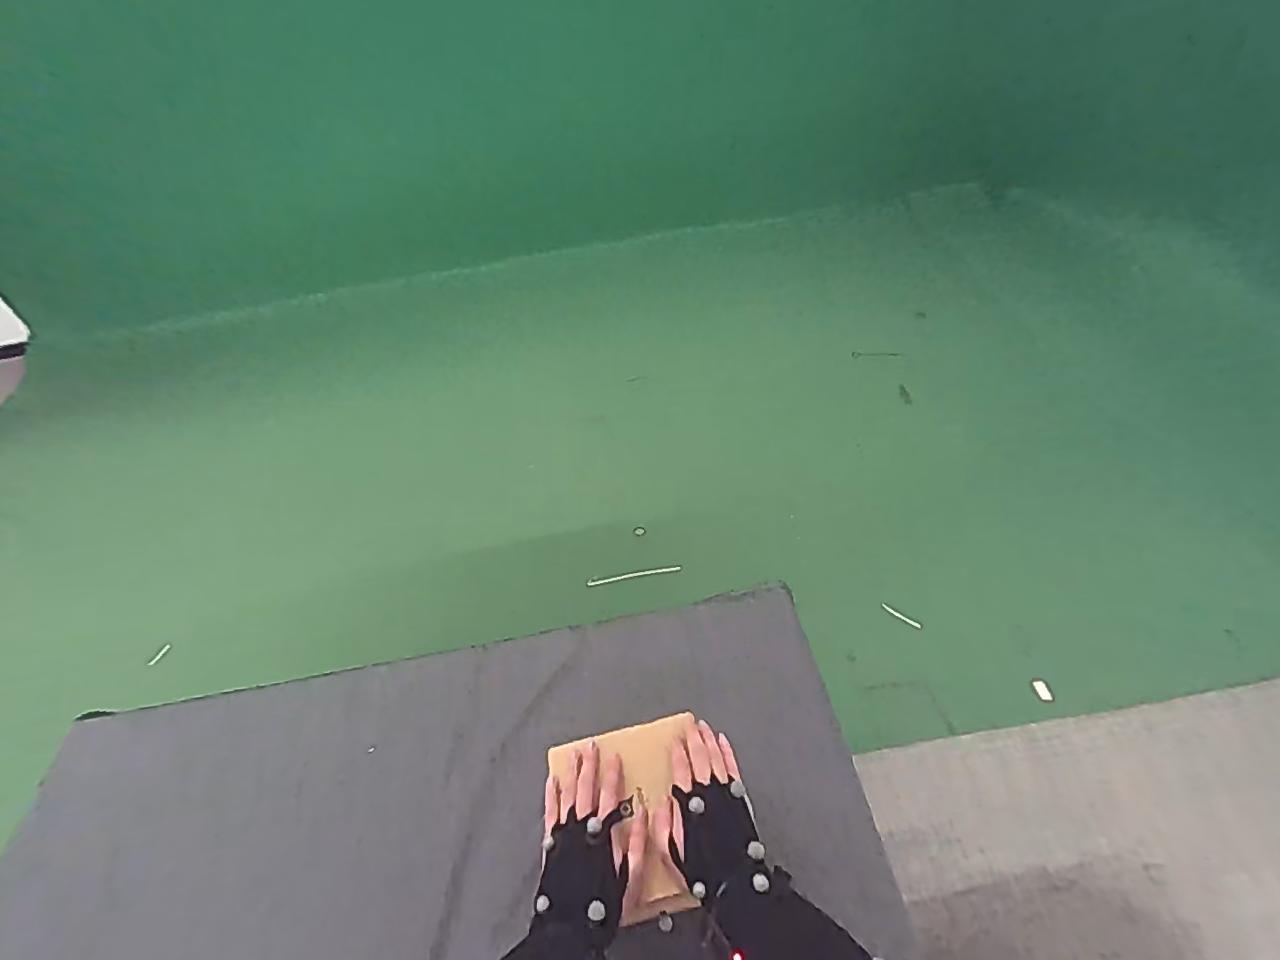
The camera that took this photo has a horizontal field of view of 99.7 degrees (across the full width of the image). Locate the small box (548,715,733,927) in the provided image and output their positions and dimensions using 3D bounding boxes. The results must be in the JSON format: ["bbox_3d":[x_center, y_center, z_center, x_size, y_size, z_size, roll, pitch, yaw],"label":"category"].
[{"bbox_3d":[0.001,0.410,0.652,0.179,0.176,0.168,-15,49,-4],"label":"small box"}]
